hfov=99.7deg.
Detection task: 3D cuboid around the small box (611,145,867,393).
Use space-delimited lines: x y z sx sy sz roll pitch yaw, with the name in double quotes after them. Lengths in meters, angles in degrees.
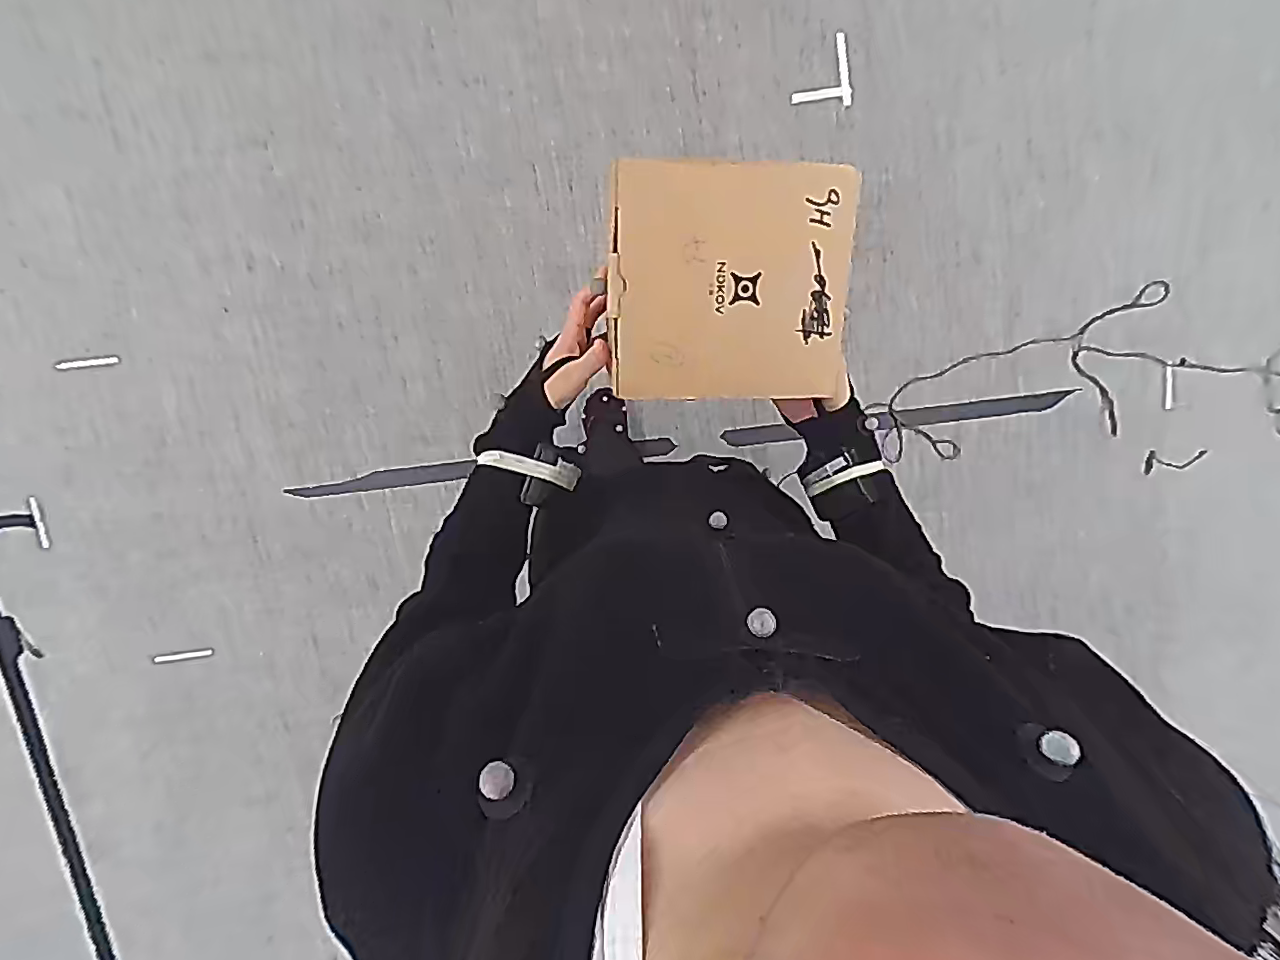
0.063 -0.171 0.467 0.179 0.176 0.168 0 109 -5 "small box"
